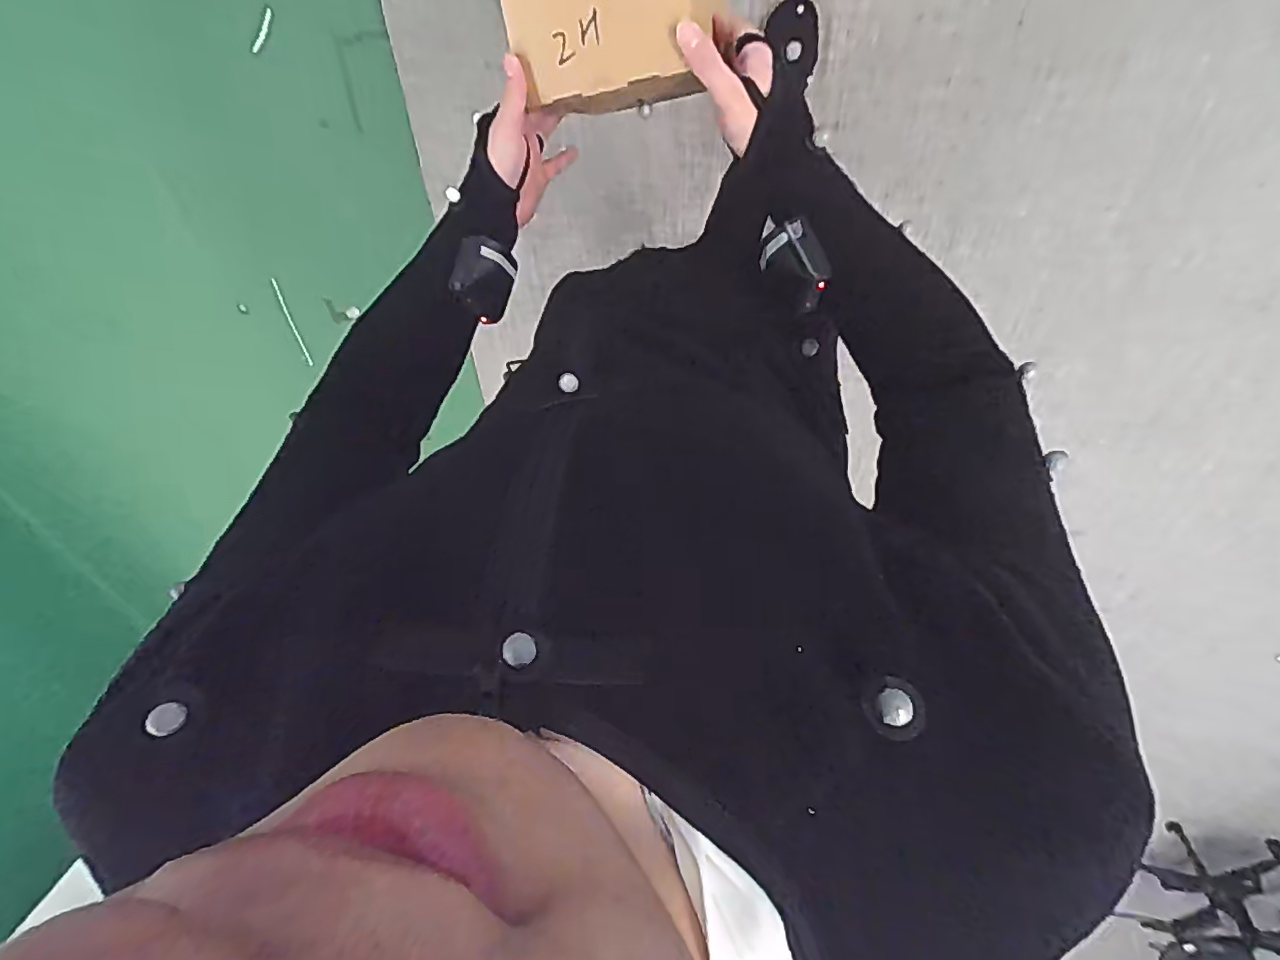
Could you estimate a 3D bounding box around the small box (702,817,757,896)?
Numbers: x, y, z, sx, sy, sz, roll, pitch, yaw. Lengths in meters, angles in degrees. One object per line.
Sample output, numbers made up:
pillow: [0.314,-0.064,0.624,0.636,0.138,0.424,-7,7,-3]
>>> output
small box: [0.314,1.312,1.889,0.168,0.176,0.179,9,130,10]

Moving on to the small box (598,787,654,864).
small box: [-0.044,1.240,1.941,0.168,0.176,0.179,7,130,10]

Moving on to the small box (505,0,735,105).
small box: [-0.014,-0.461,0.489,0.168,0.176,0.179,3,122,22]
